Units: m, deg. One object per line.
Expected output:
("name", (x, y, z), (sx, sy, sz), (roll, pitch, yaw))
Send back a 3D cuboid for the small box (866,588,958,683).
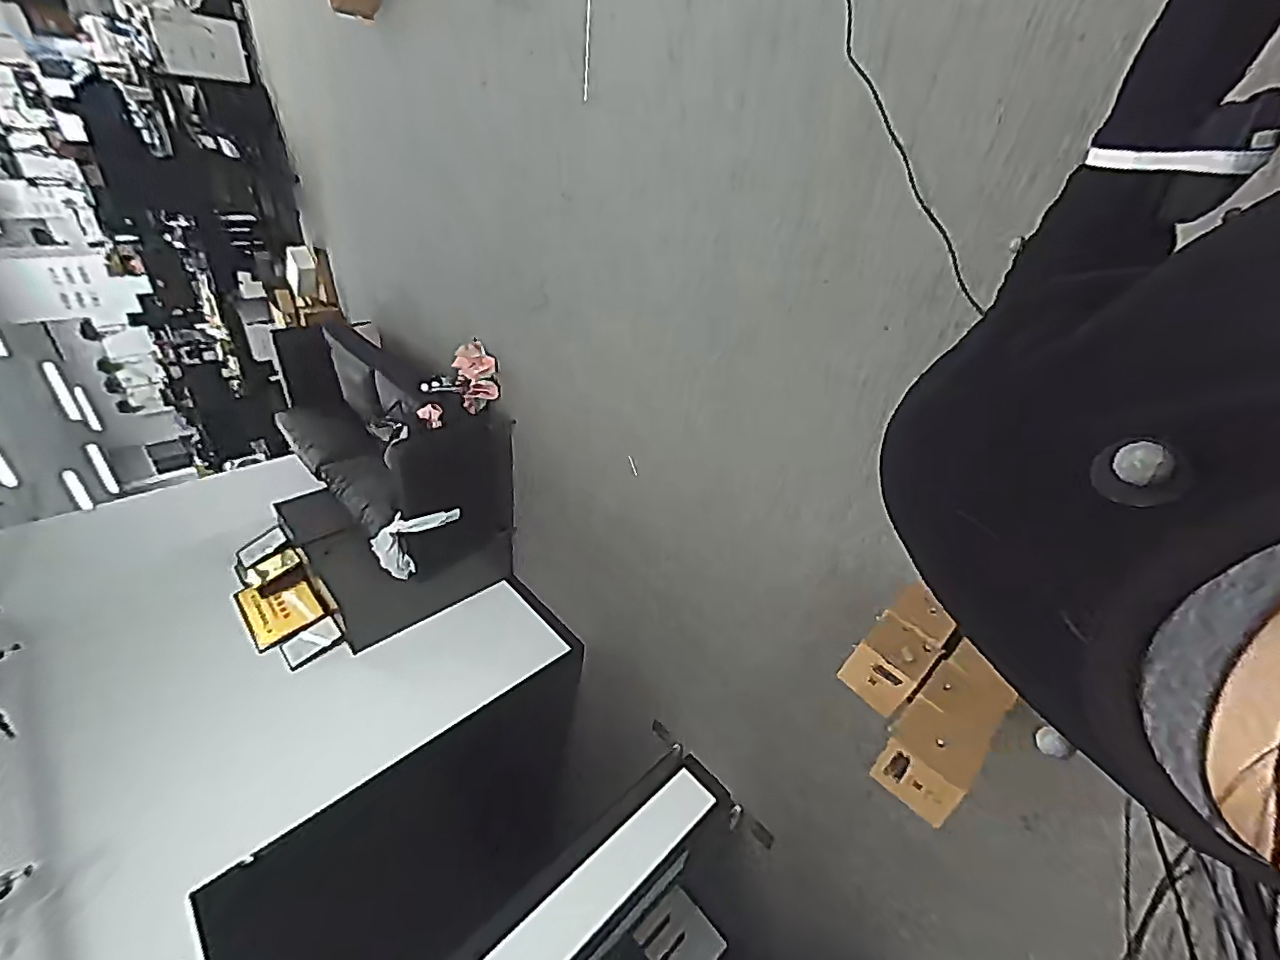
("small box", (0.815, 0.460, 1.615), (0.168, 0.176, 0.179), (35, 131, 34))
